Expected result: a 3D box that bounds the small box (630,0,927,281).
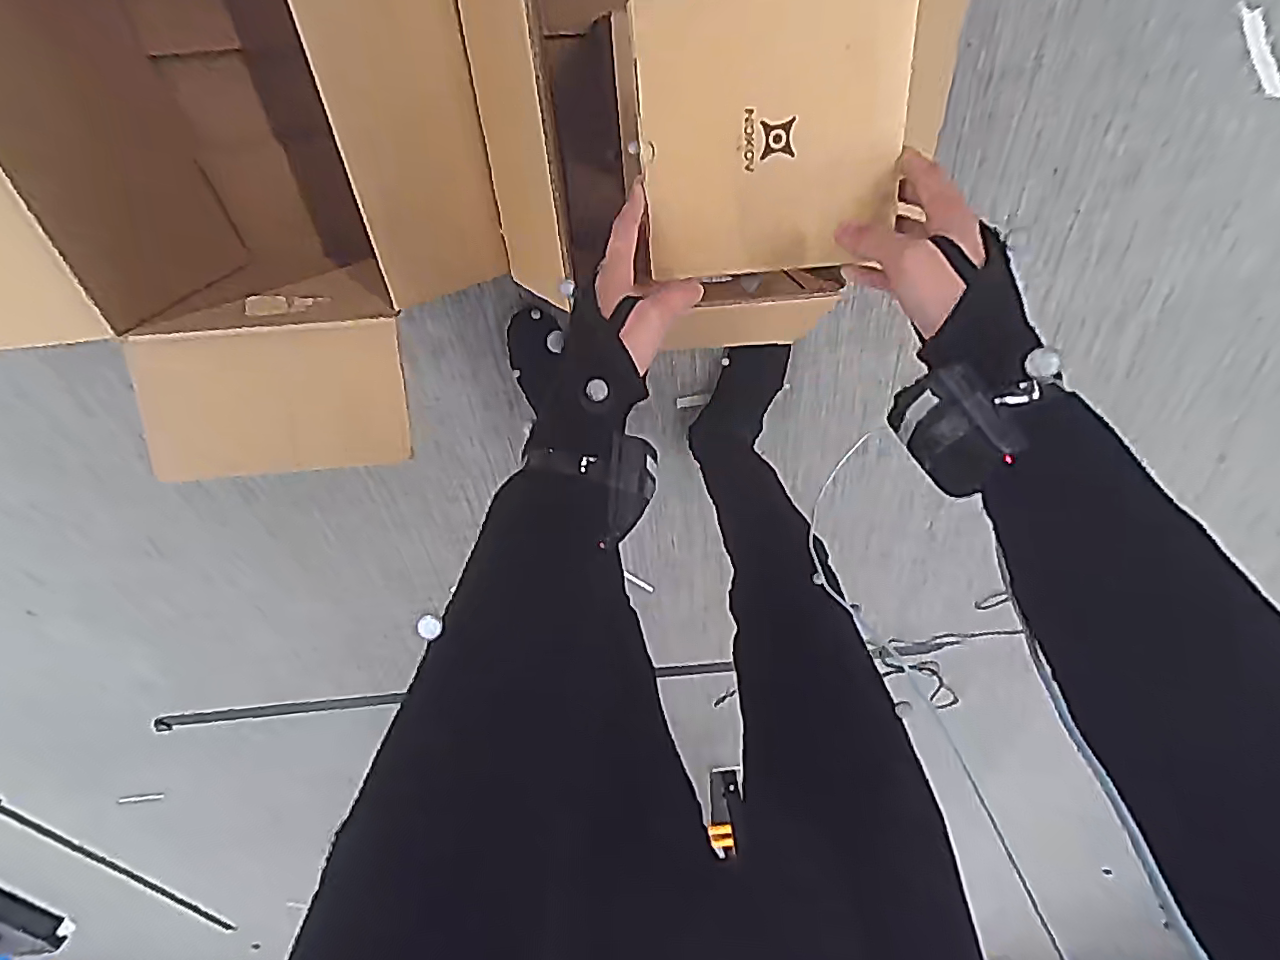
[{"bbox_3d":[0.088,-0.259,0.419,0.179,0.176,0.168,-4,118,5],"label":"small box"}]
